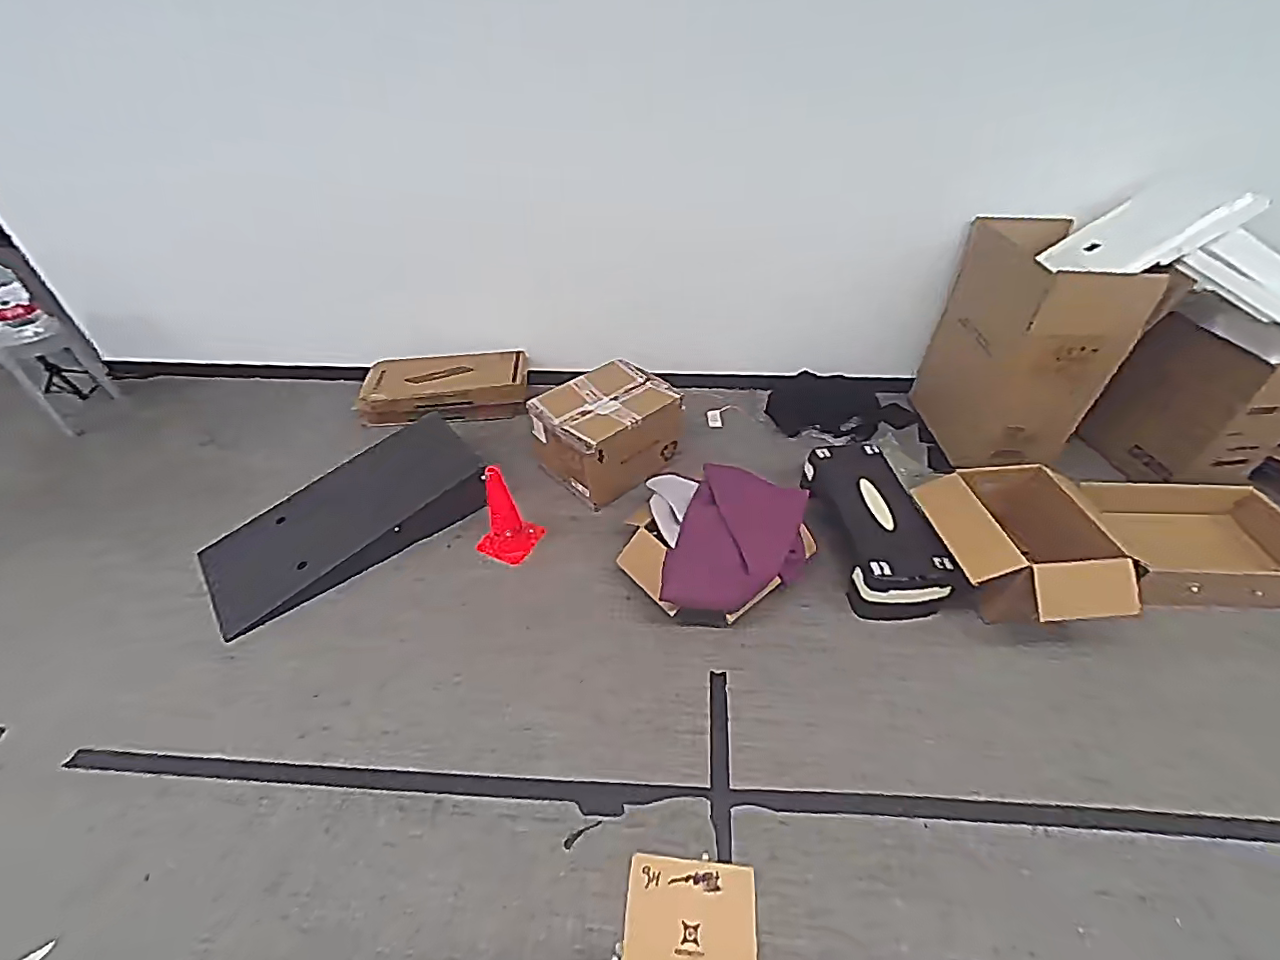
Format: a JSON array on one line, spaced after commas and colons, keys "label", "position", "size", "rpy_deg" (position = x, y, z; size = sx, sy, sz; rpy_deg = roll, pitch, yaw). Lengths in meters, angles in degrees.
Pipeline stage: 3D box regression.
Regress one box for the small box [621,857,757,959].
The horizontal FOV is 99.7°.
[{"label": "small box", "position": [0.063, 0.628, 0.707], "size": [0.168, 0.176, 0.179], "rpy_deg": [4, 43, 6]}]
